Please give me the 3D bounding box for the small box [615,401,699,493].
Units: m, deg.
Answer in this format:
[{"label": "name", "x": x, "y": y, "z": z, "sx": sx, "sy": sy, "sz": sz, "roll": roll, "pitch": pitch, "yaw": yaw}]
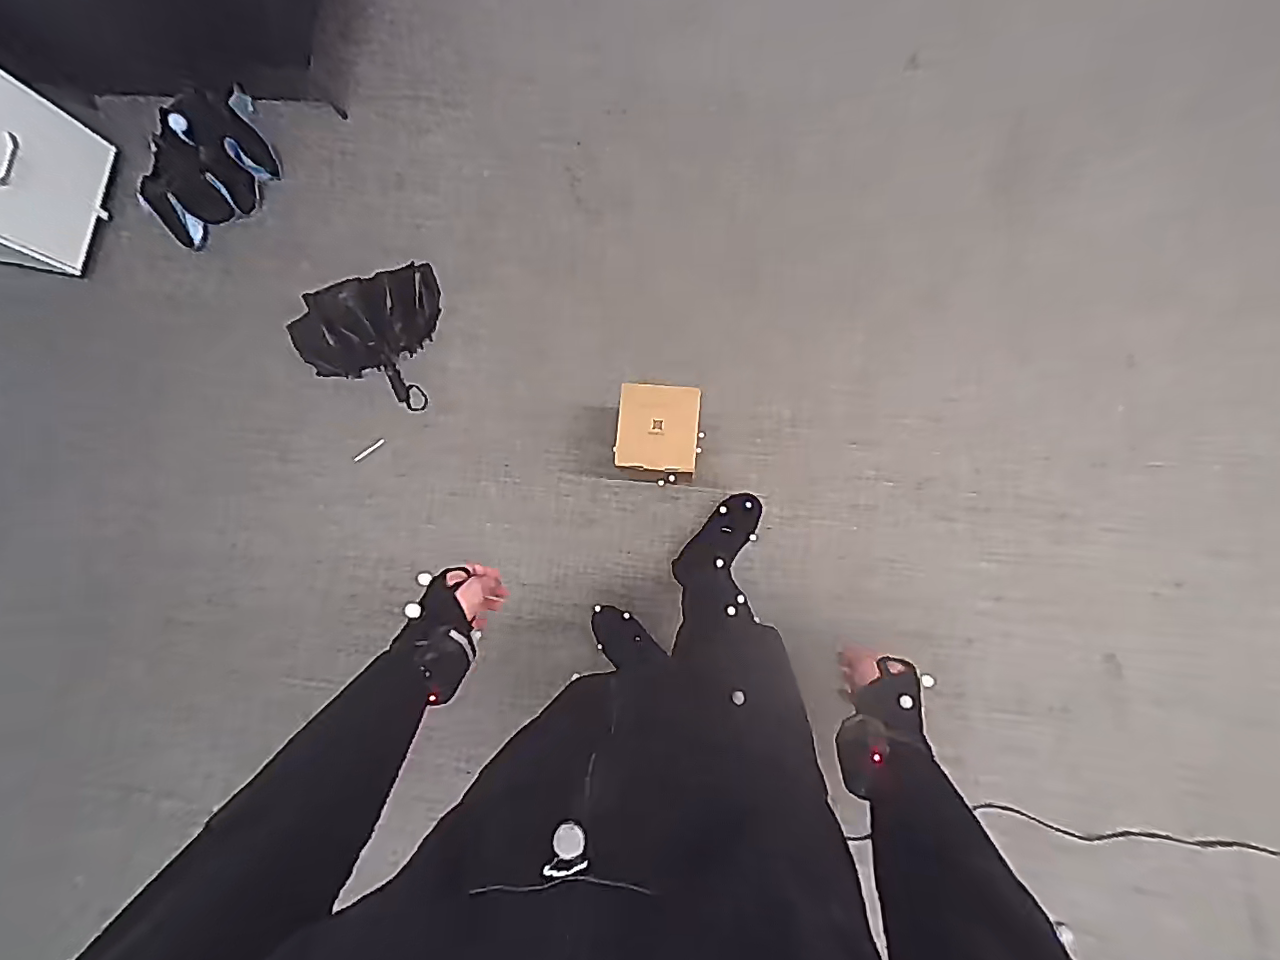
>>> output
[{"label": "small box", "x": 0.043, "y": -0.066, "z": 1.193, "sx": 0.168, "sy": 0.176, "sz": 0.179, "roll": 3, "pitch": 83, "yaw": 4}]
